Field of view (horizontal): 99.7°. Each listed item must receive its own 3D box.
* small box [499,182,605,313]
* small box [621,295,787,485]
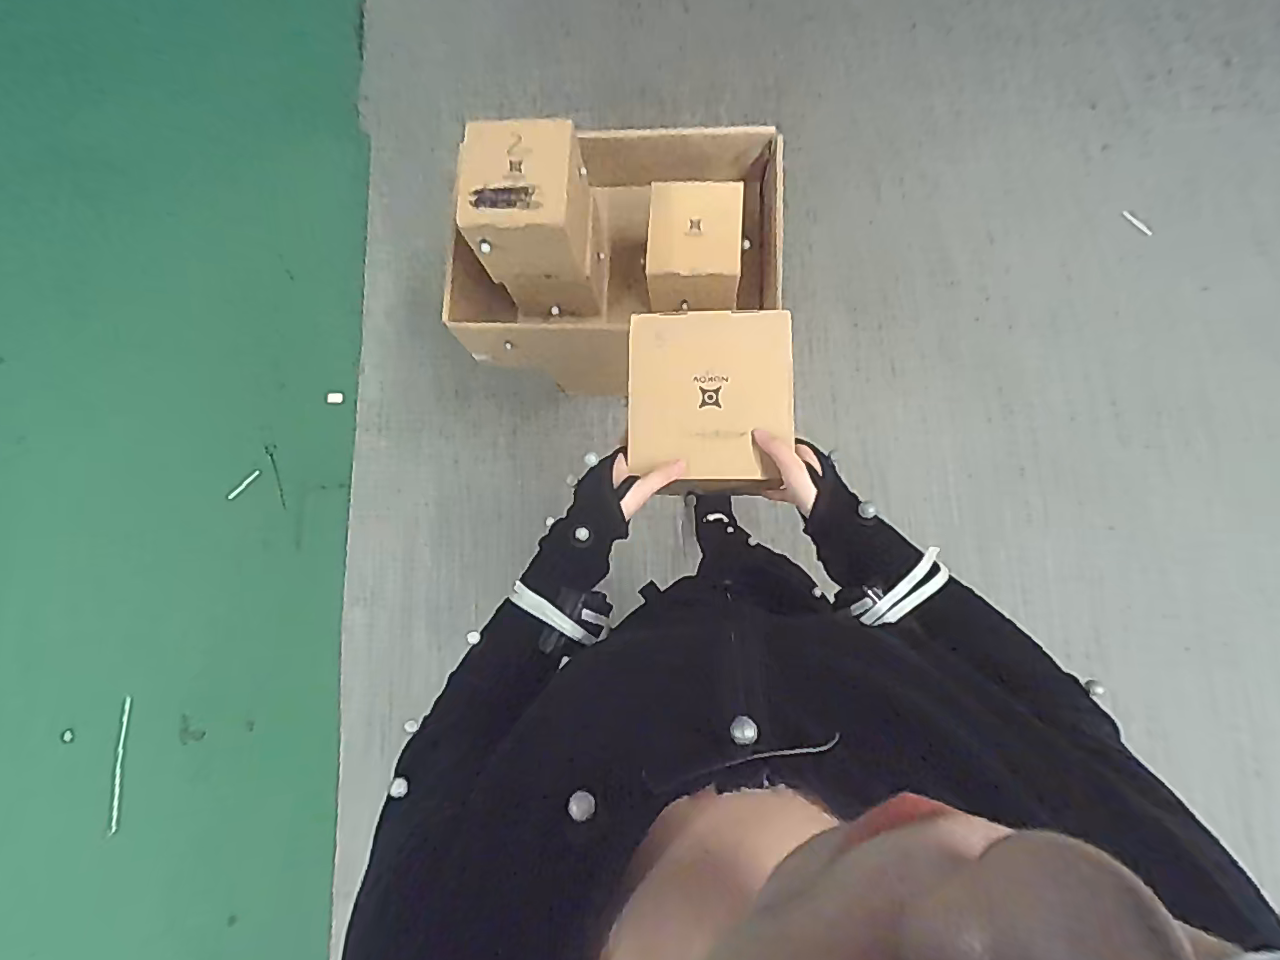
[{"bbox_3d":[-0.162,-0.441,1.046,0.168,0.176,0.179,0,83,5],"label":"small box"},{"bbox_3d":[0.070,-0.091,0.620,0.168,0.176,0.179,0,83,5],"label":"small box"}]
